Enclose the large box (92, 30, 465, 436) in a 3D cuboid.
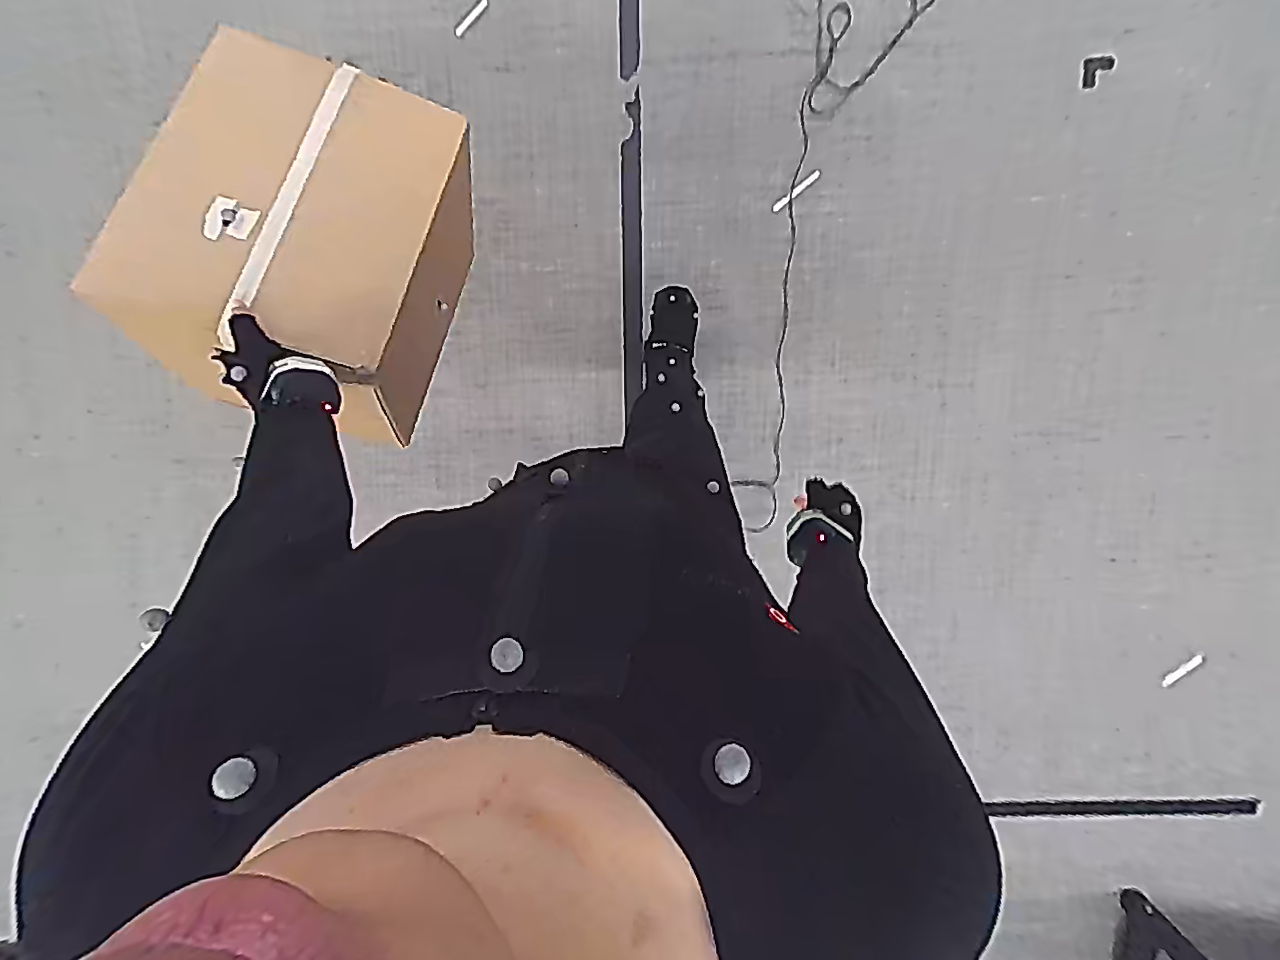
[{"bbox_3d":[-0.468,-0.325,0.816,0.320,0.320,0.408,14,75,-12],"label":"large box"}]
